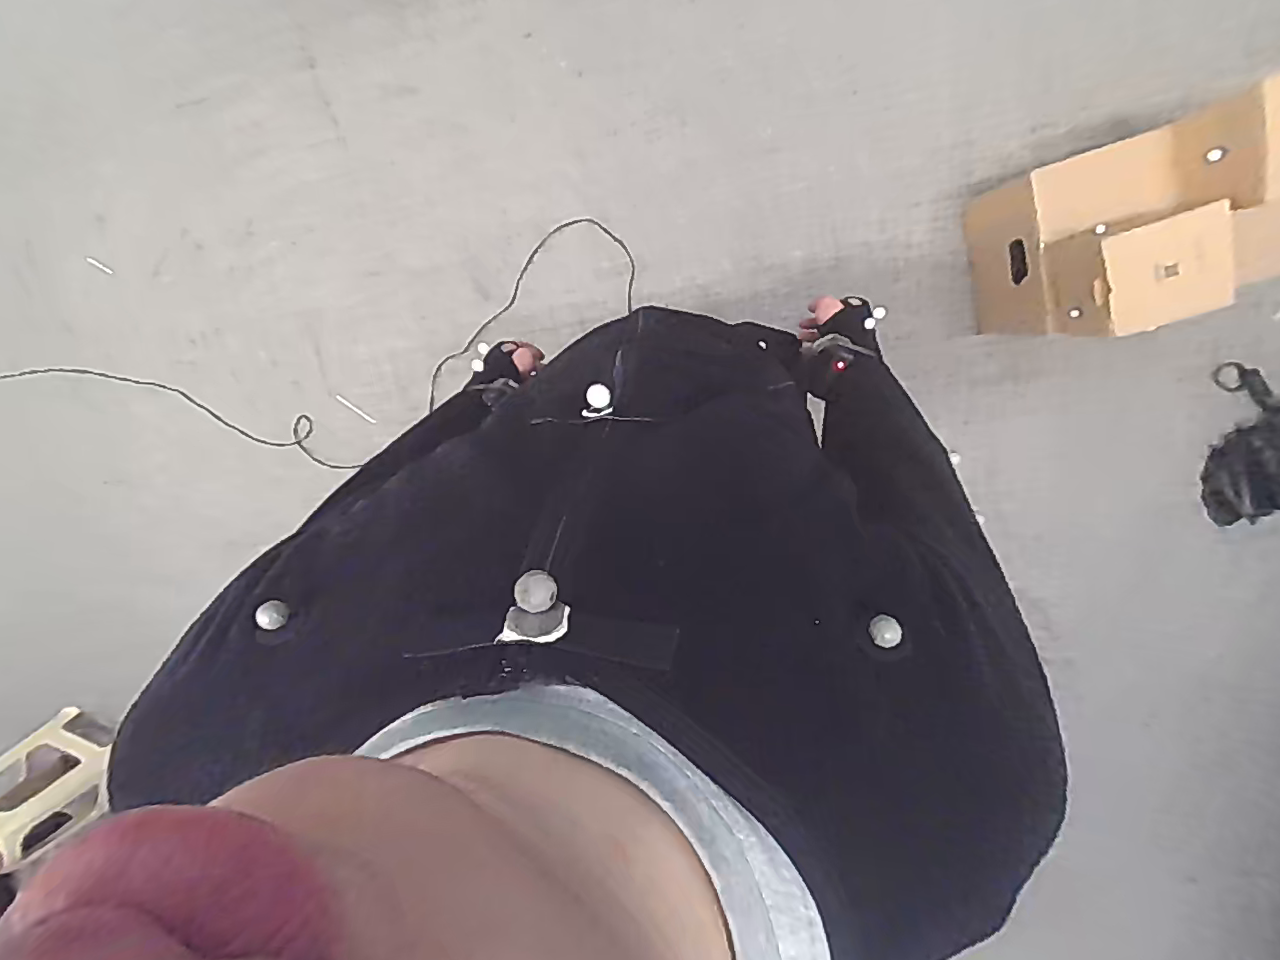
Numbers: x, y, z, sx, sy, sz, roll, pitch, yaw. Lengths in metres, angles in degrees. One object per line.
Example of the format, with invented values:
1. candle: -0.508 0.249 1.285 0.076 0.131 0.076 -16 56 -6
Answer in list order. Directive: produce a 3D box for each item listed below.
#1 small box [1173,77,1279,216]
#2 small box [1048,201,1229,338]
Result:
1. small box: 1.012 -0.533 0.866 0.168 0.176 0.179 -12 101 12
2. small box: 0.851 -0.357 0.943 0.179 0.176 0.168 -17 106 12
